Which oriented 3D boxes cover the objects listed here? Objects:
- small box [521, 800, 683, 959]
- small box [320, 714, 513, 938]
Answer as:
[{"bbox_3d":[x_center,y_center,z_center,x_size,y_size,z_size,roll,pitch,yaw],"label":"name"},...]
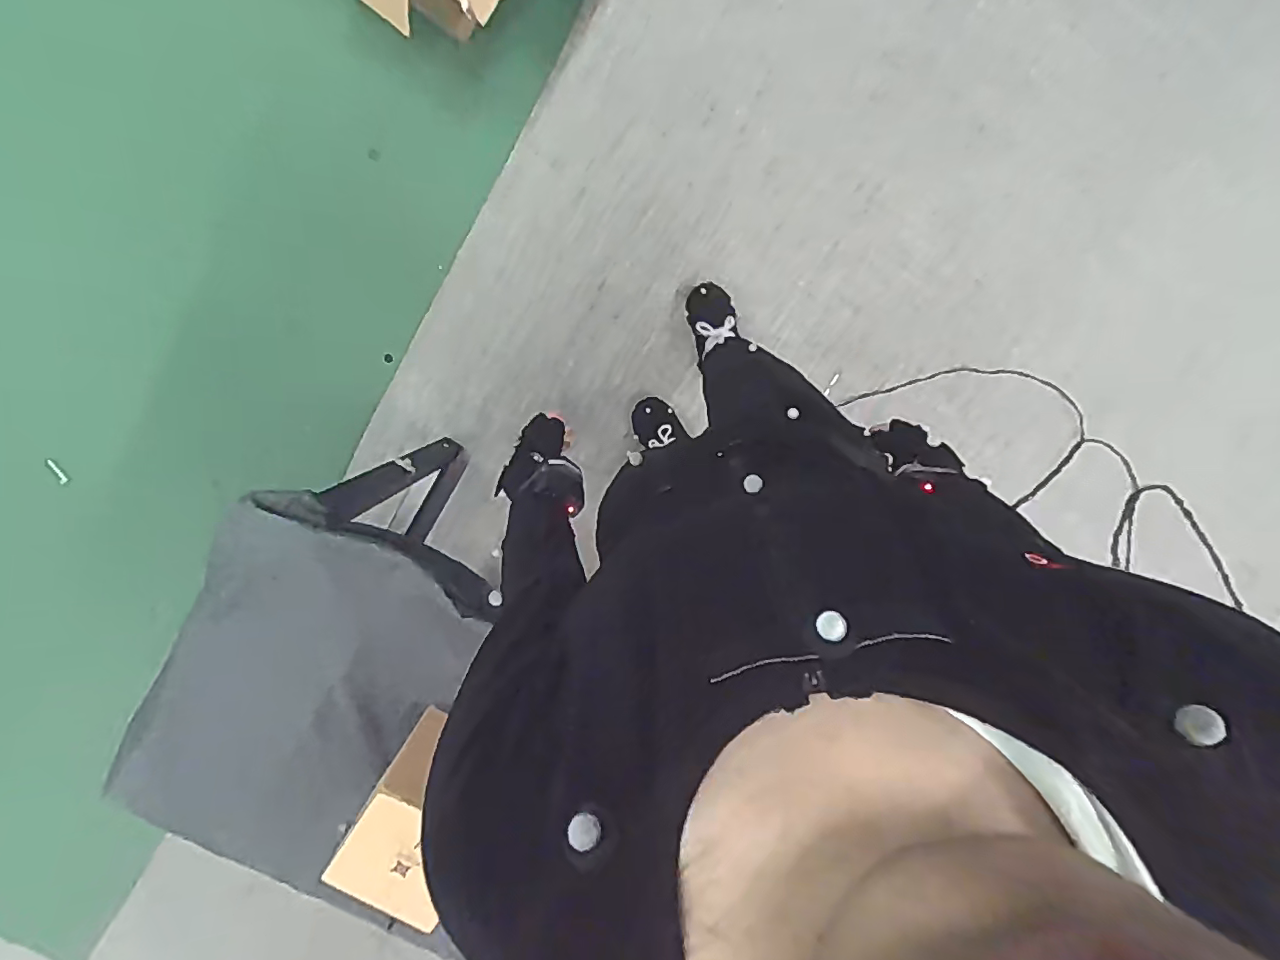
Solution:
[{"bbox_3d":[-0.051,0.637,0.812,0.168,0.176,0.179,33,101,-7],"label":"small box"},{"bbox_3d":[-0.303,0.481,0.772,0.168,0.176,0.179,33,101,-8],"label":"small box"}]
